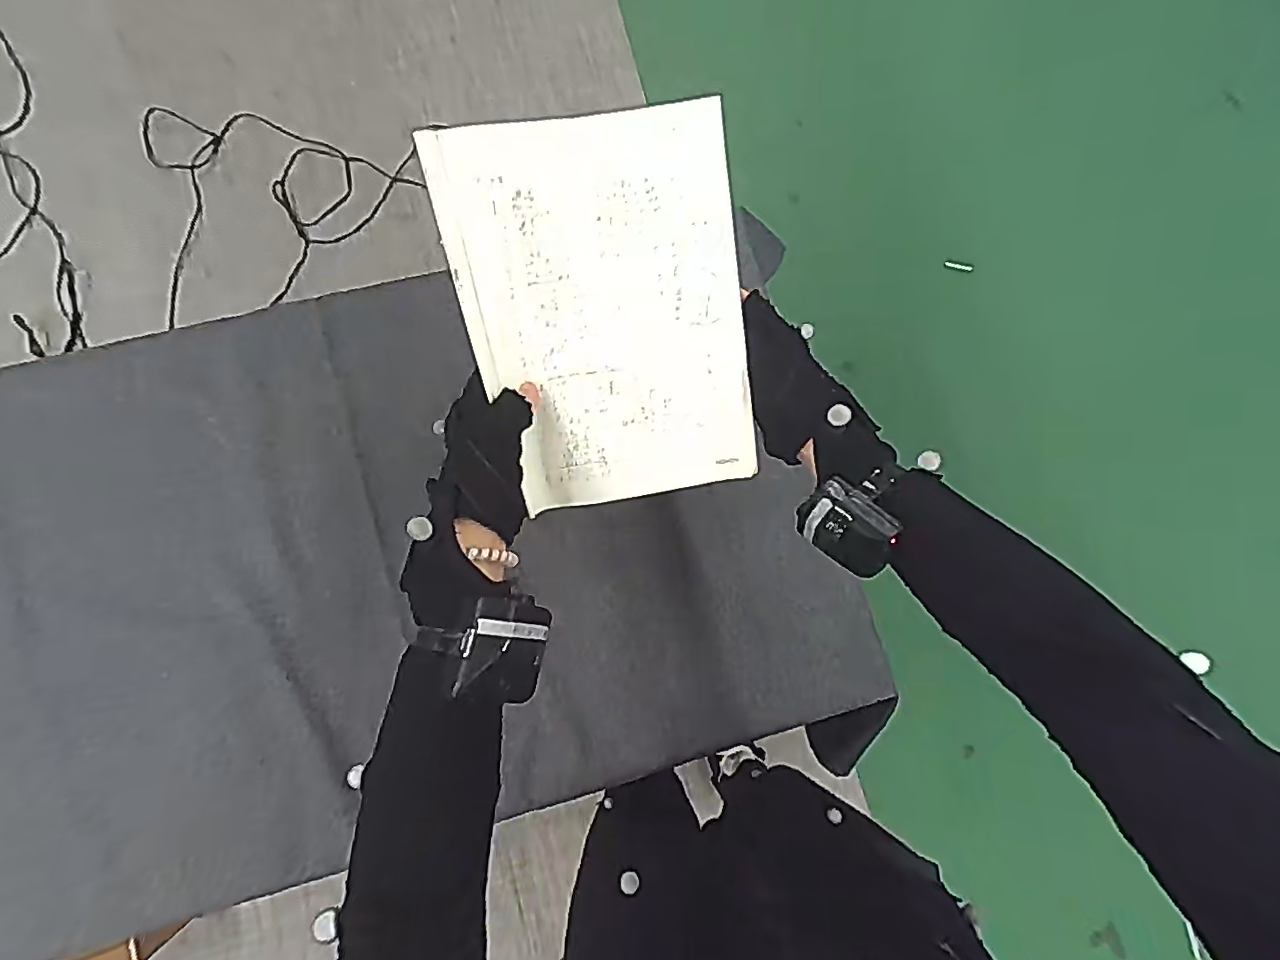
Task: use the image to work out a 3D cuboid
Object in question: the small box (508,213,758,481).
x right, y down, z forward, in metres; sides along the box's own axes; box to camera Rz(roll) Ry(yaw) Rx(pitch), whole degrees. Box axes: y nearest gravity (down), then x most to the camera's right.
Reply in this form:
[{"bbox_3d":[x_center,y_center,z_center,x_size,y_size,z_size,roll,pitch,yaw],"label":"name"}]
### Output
[{"bbox_3d":[-0.009,-0.111,0.522,0.168,0.176,0.179,-19,85,-2],"label":"small box"}]
